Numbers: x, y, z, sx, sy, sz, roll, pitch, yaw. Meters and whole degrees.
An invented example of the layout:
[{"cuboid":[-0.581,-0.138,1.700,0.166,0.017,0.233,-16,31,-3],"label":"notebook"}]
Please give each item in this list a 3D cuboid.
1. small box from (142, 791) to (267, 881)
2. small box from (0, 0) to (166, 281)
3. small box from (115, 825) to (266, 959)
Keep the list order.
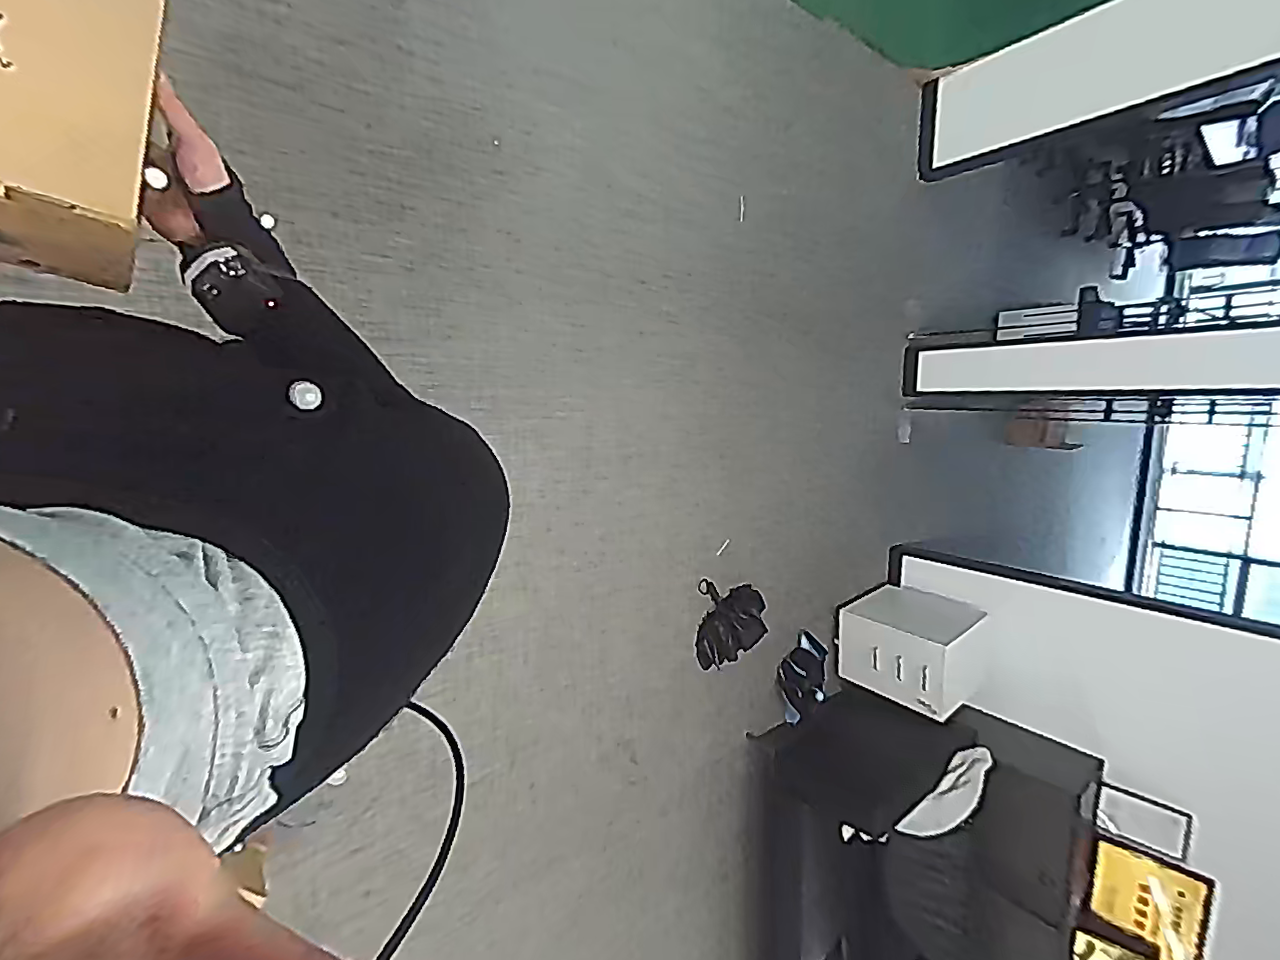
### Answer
[{"cuboid":[-1.019,0.869,1.264,0.168,0.176,0.179,46,69,-33],"label":"small box"},{"cuboid":[-0.458,-0.265,0.383,0.168,0.176,0.179,6,85,-45],"label":"small box"},{"cuboid":[-0.925,0.875,1.128,0.179,0.176,0.168,-50,124,-23],"label":"small box"}]
